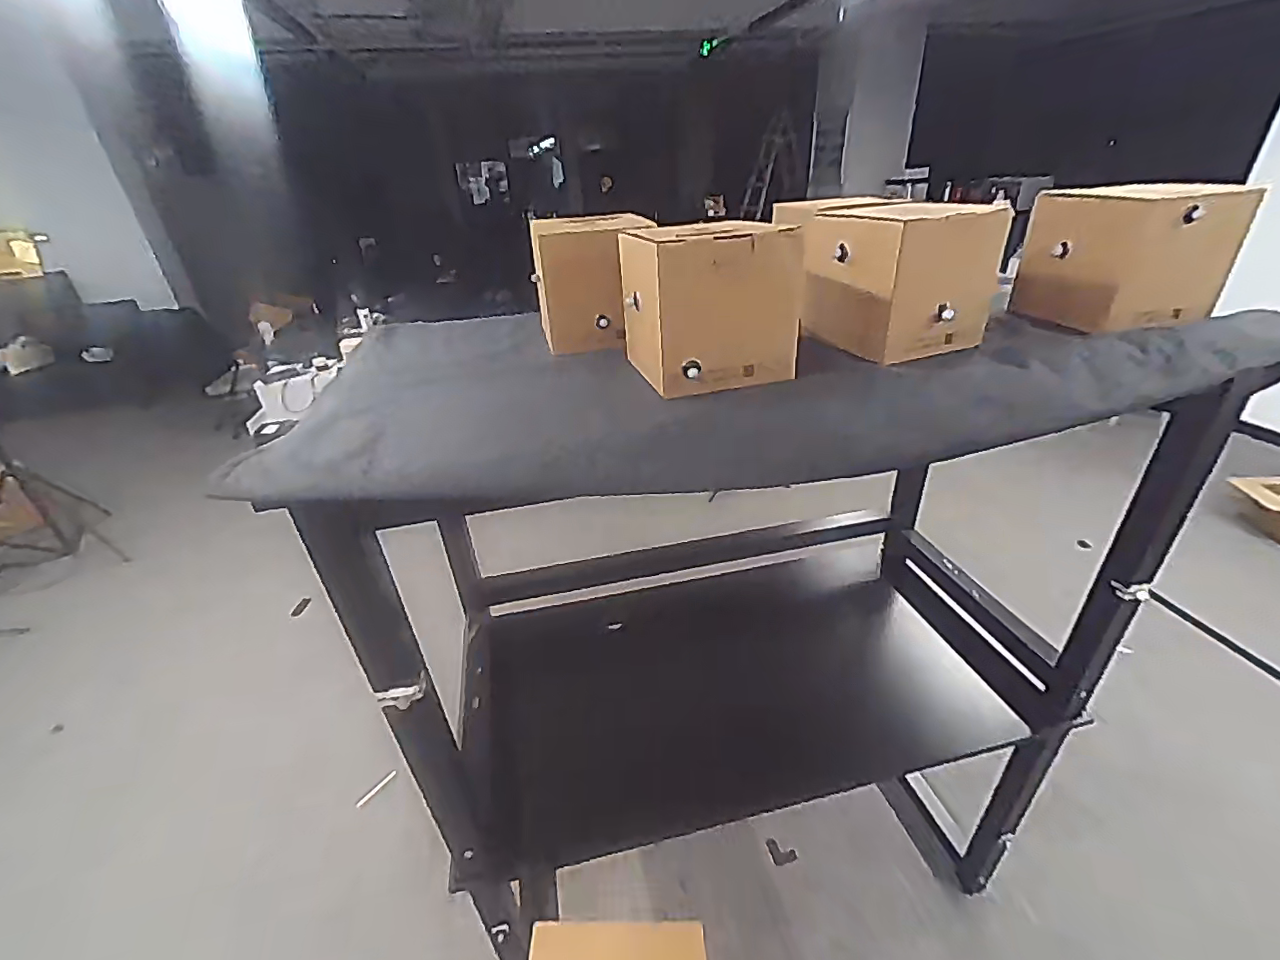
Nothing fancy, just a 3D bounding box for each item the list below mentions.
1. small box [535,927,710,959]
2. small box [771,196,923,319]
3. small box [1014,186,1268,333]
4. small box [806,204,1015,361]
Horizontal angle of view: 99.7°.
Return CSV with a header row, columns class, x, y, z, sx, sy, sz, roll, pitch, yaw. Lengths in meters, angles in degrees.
class,x,y,z,sx,sy,sz,roll,pitch,yaw
small box,-0.019,0.535,0.462,0.168,0.176,0.179,2,16,-3
small box,0.337,-0.379,0.916,0.179,0.176,0.168,-8,30,-8
small box,0.675,-0.311,0.758,0.168,0.176,0.179,-8,30,-6
small box,0.343,-0.269,0.725,0.168,0.176,0.179,-14,32,-16
